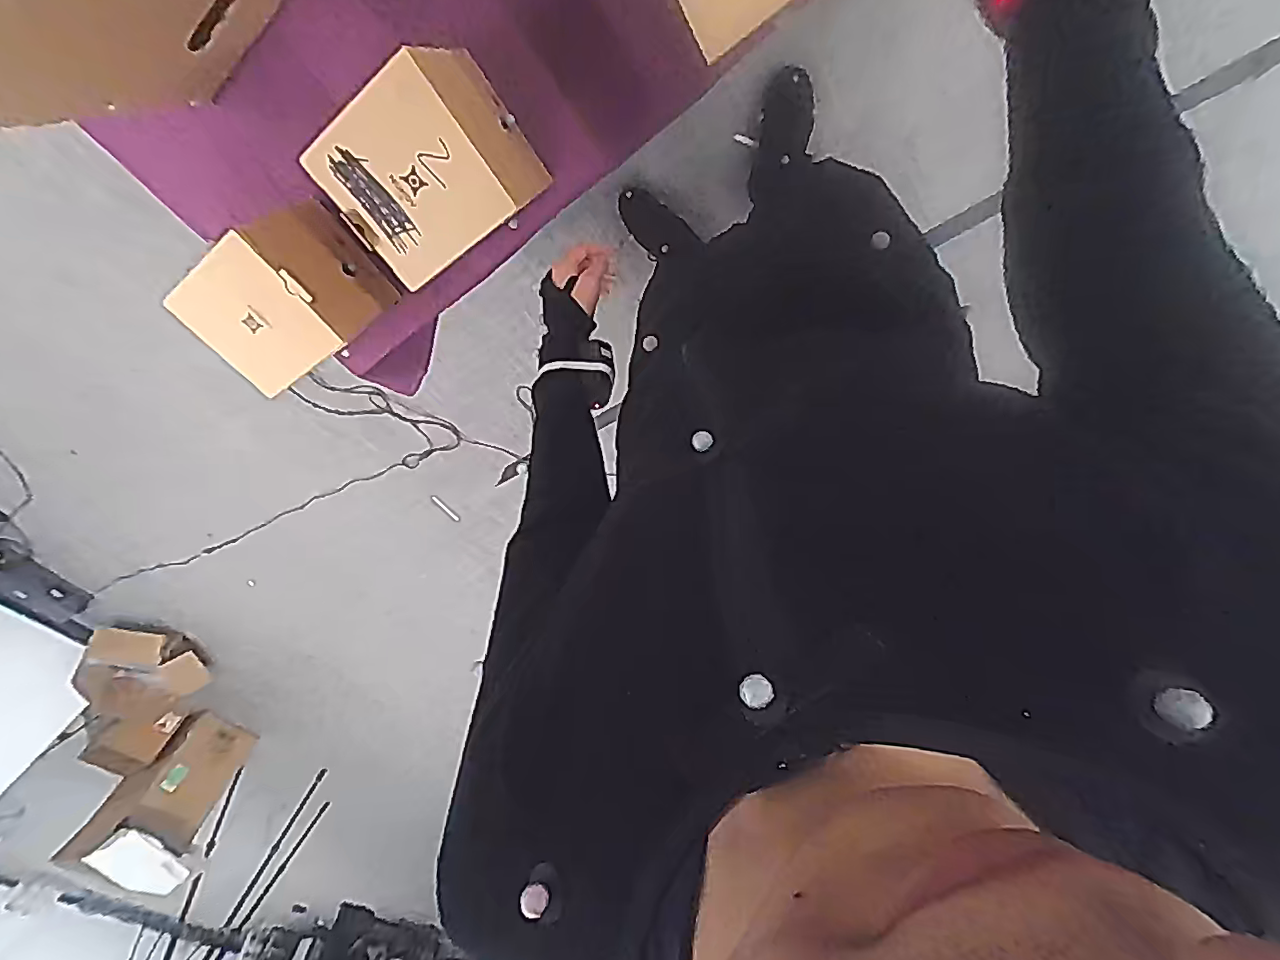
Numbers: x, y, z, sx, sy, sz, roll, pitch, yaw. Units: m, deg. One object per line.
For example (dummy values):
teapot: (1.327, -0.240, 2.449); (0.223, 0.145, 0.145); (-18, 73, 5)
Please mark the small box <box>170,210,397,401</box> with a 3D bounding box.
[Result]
small box: (-0.486, -0.247, 0.764); (0.179, 0.176, 0.168); (-25, 121, 23)
